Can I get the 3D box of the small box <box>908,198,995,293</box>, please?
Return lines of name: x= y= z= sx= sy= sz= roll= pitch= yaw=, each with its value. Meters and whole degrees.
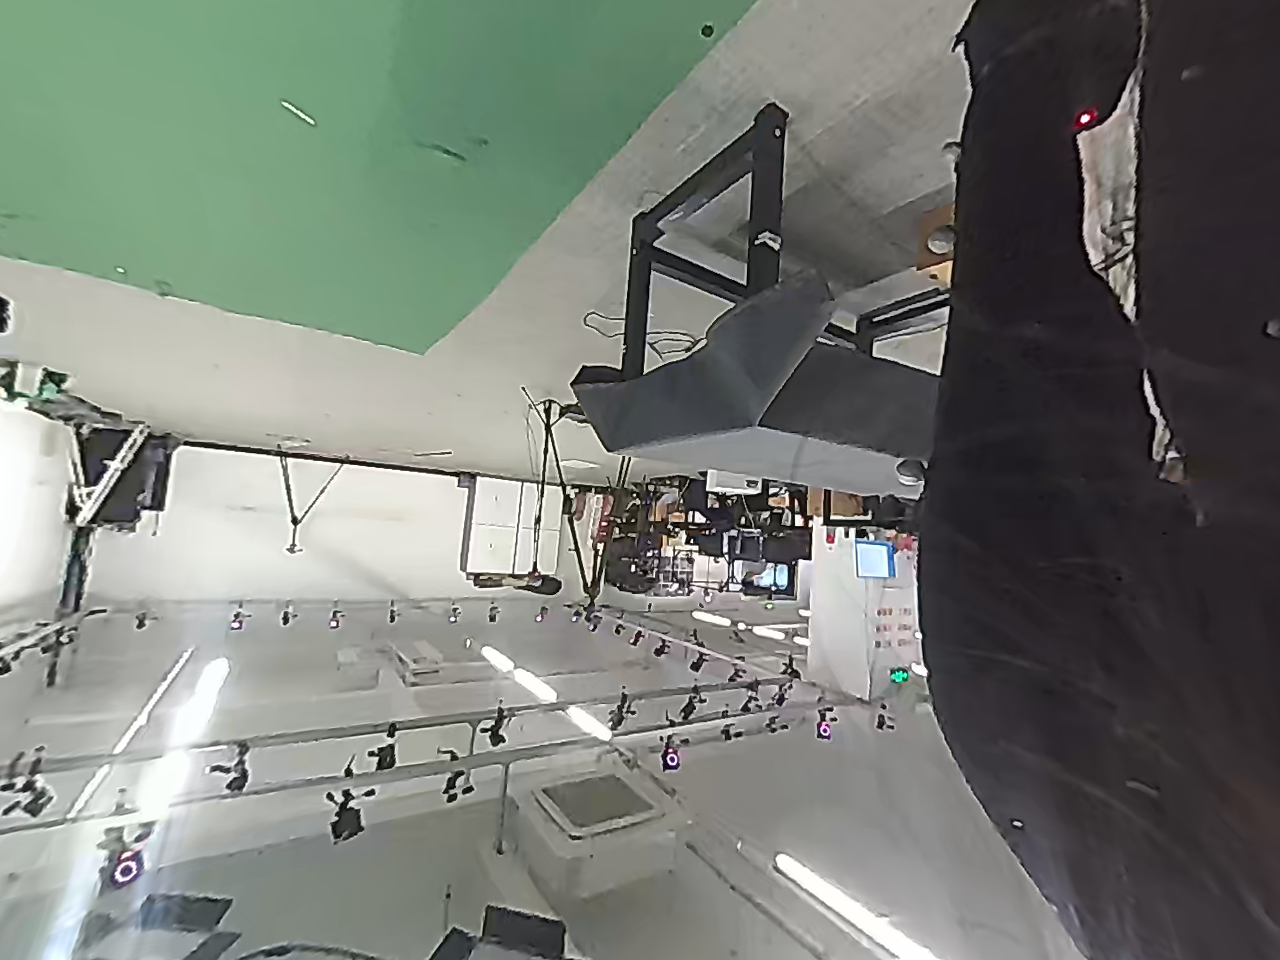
small box: x=0.880 y=-0.662 z=1.533 sx=0.168 sy=0.176 sz=0.179 roll=9 pitch=171 yaw=-38
